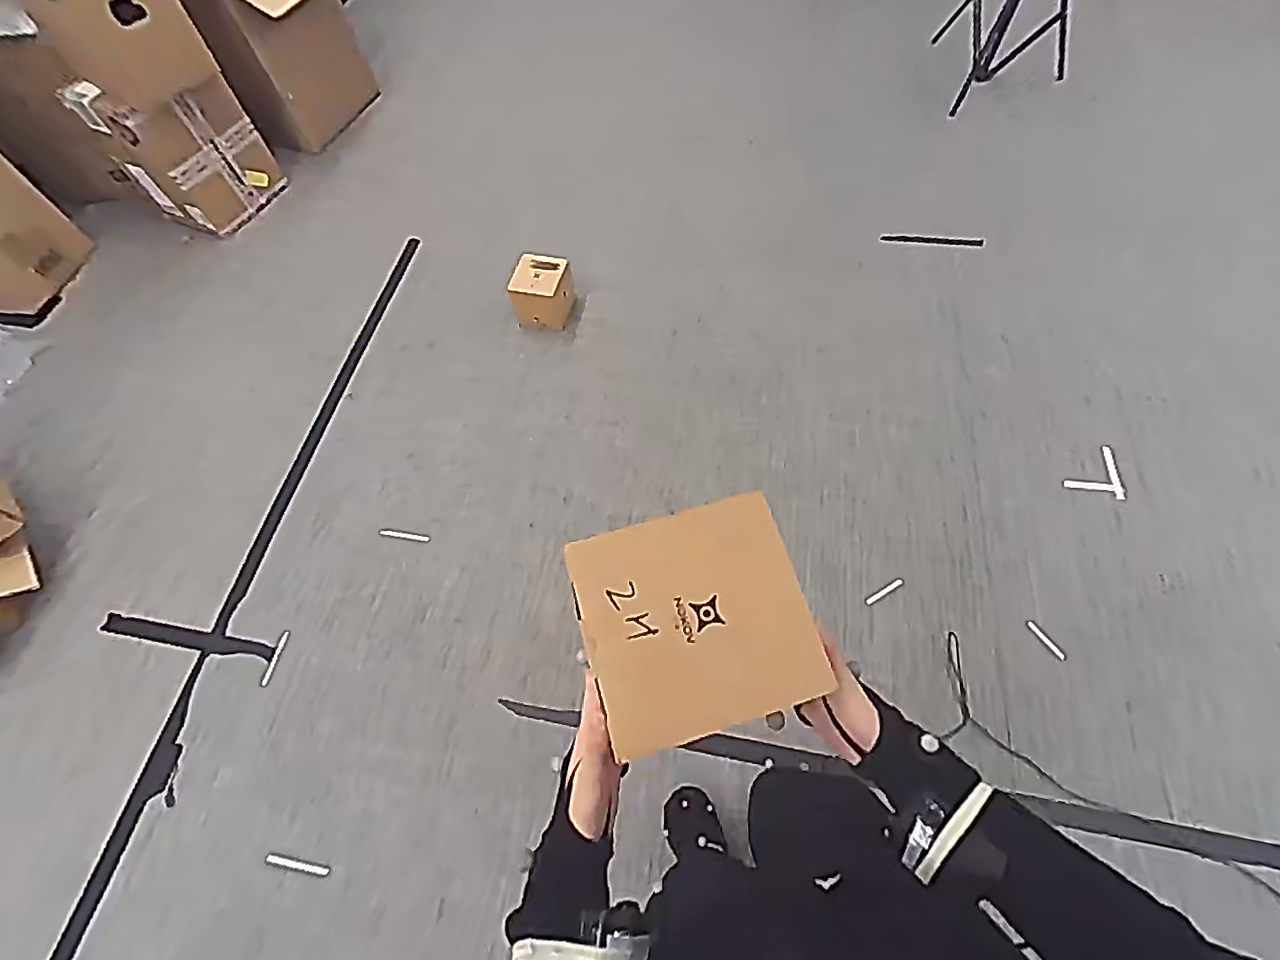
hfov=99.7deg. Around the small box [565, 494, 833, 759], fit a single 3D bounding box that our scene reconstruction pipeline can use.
[{"bbox_3d":[0.039,0.131,0.494,0.179,0.176,0.168,-15,71,-7],"label":"small box"}]
